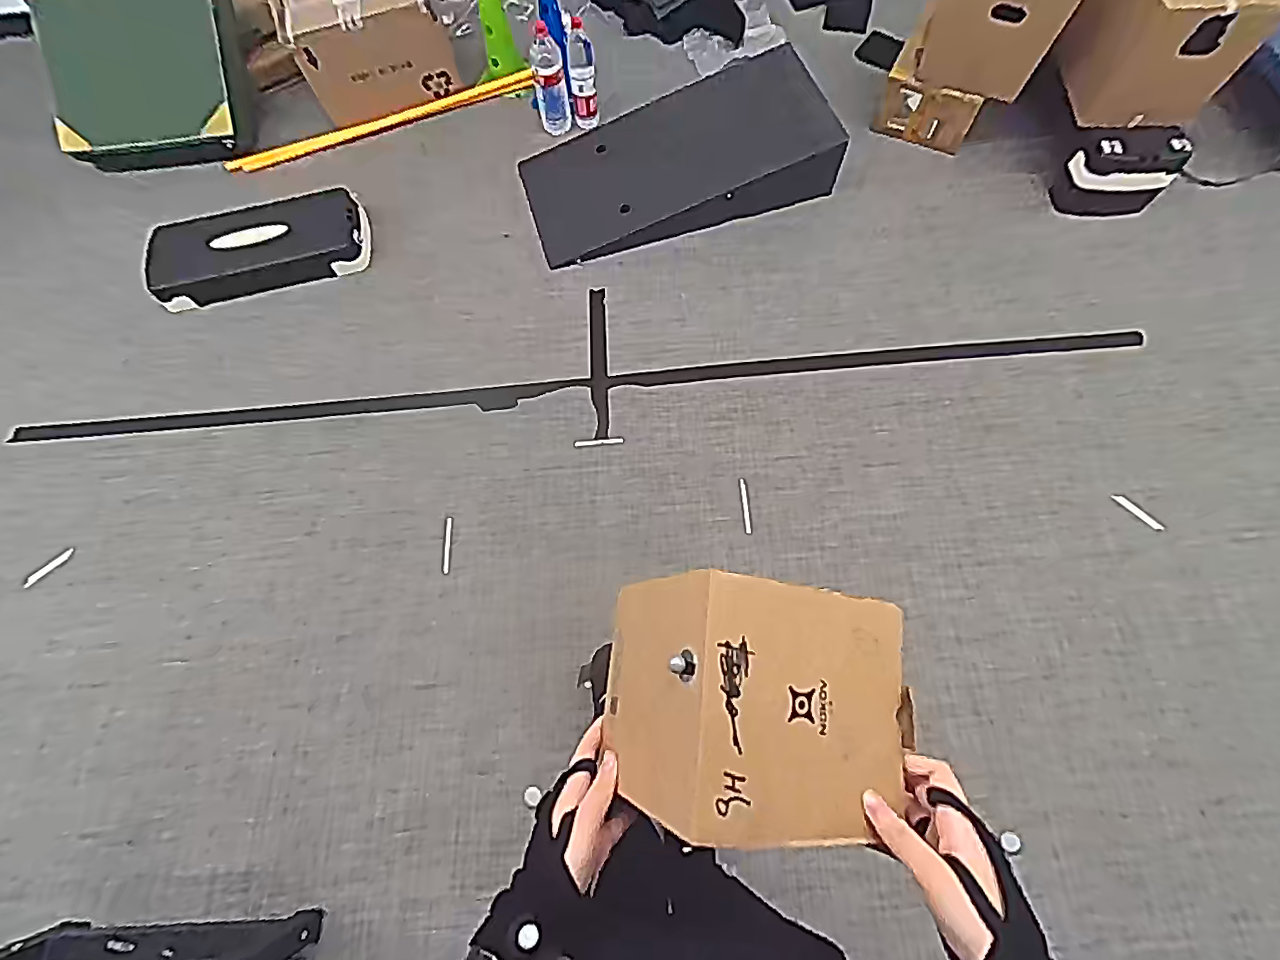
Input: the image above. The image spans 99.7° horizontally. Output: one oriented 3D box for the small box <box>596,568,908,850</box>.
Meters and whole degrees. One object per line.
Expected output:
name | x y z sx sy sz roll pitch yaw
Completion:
small box | 0.083 0.176 0.436 0.179 0.176 0.168 15 68 -21
